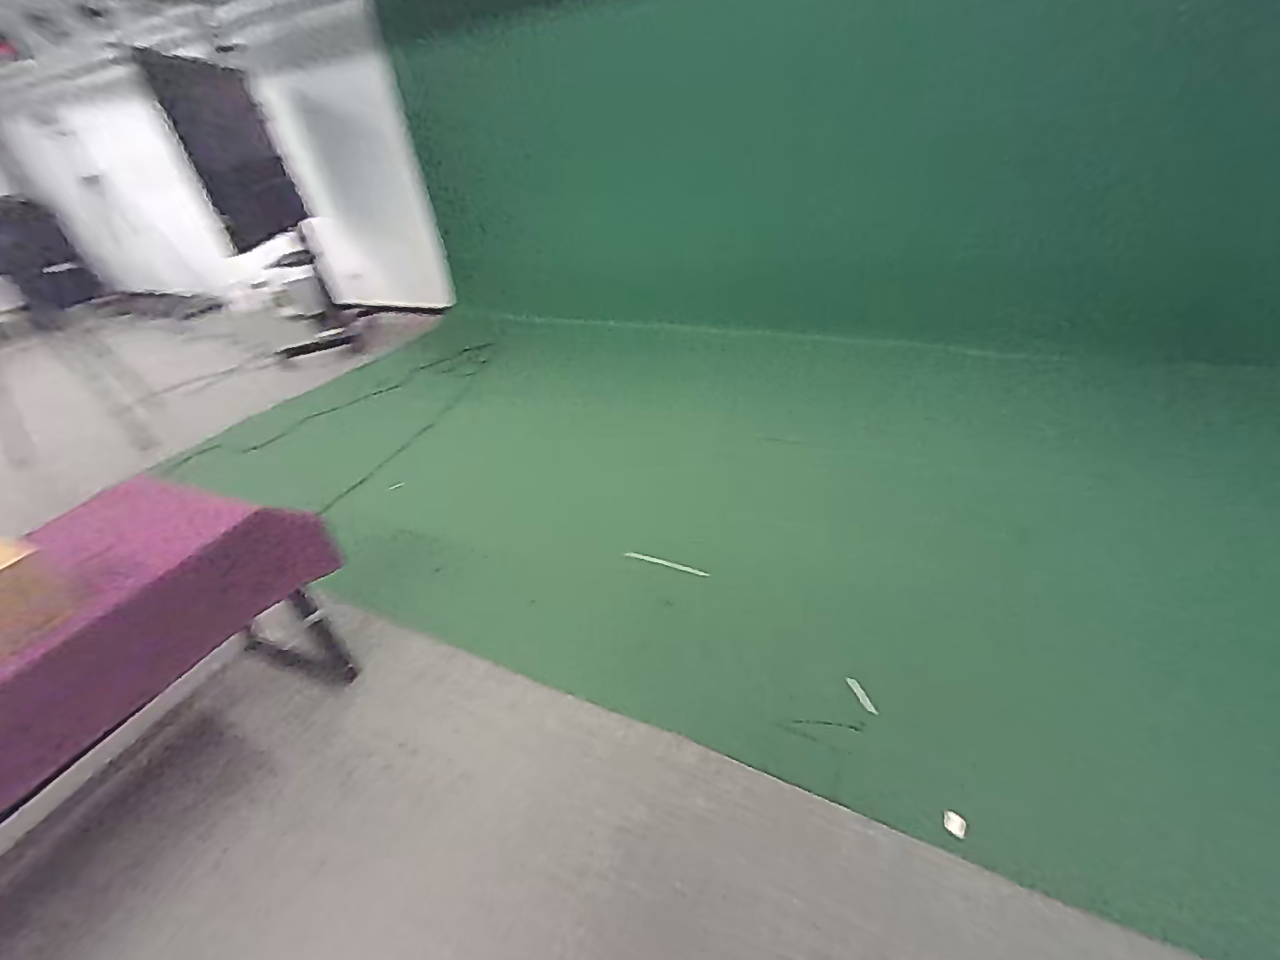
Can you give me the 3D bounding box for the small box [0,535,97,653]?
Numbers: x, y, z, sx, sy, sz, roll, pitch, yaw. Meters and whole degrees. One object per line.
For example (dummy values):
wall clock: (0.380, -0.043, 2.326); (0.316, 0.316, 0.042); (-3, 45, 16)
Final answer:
small box: (-1.352, 0.245, 1.165); (0.179, 0.176, 0.168); (9, 39, 23)
